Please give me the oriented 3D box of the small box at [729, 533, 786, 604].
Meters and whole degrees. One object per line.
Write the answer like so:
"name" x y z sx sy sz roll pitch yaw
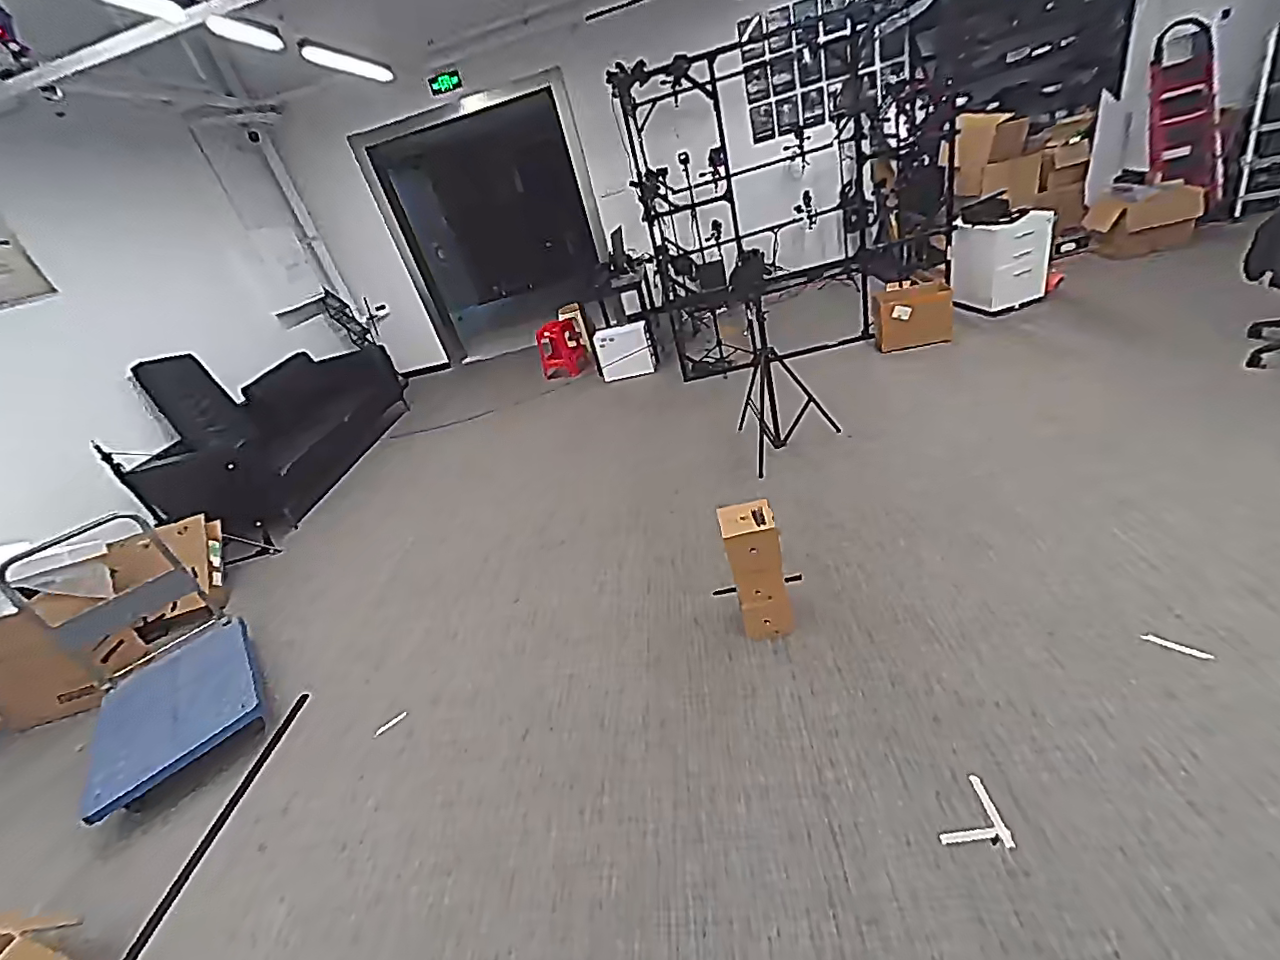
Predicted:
"small box" 0.417 0.316 1.929 0.168 0.176 0.179 -12 30 9

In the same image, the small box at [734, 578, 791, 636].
"small box" 0.455 0.457 2.002 0.168 0.176 0.179 -13 29 7
